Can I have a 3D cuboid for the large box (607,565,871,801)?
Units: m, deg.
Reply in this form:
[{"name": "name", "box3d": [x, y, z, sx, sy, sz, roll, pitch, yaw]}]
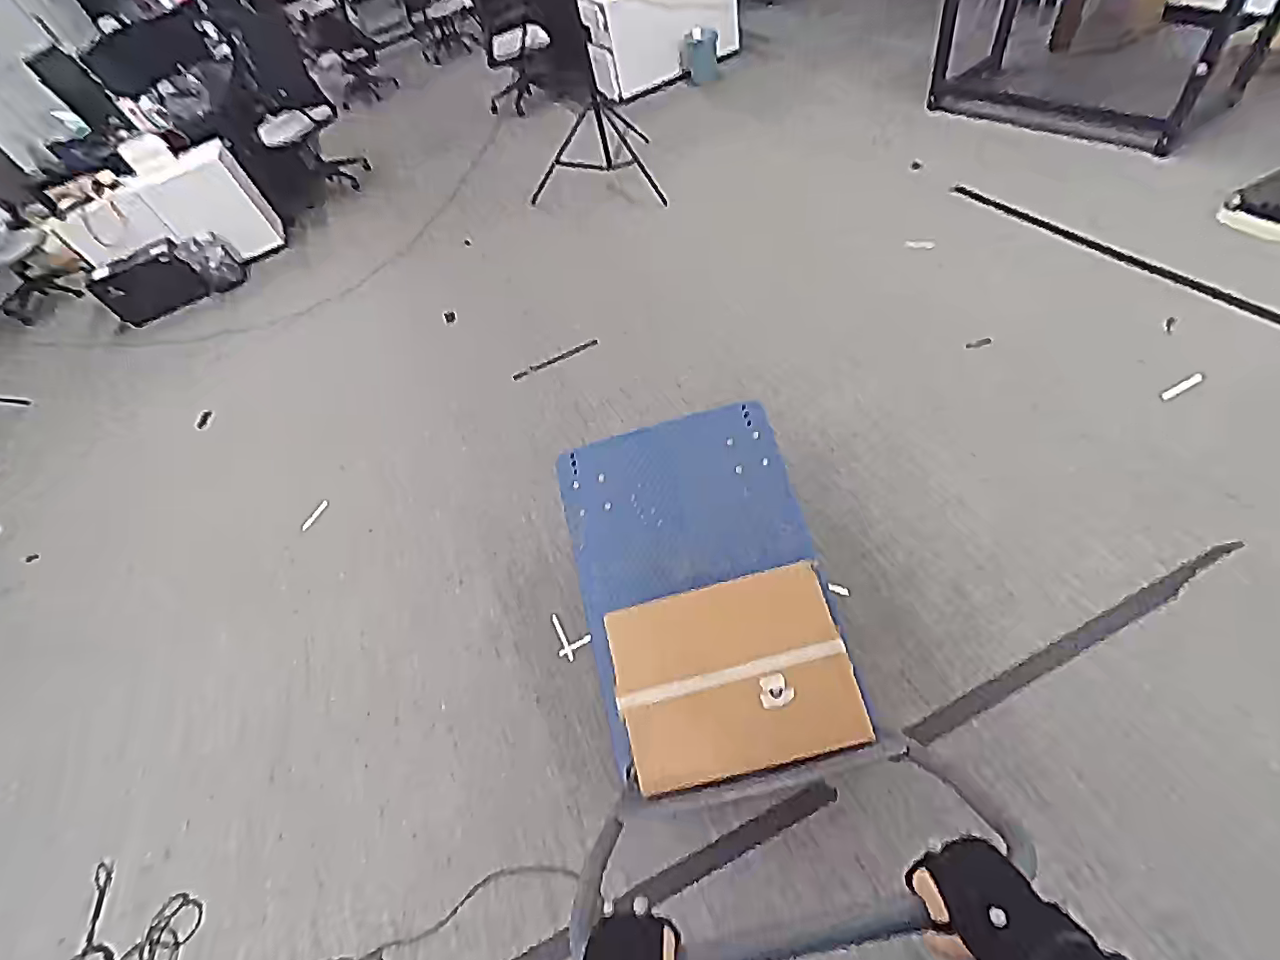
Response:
[{"name": "large box", "box3d": [0.181, 0.404, 1.108, 0.408, 0.320, 0.320, -16, 70, 1]}]
